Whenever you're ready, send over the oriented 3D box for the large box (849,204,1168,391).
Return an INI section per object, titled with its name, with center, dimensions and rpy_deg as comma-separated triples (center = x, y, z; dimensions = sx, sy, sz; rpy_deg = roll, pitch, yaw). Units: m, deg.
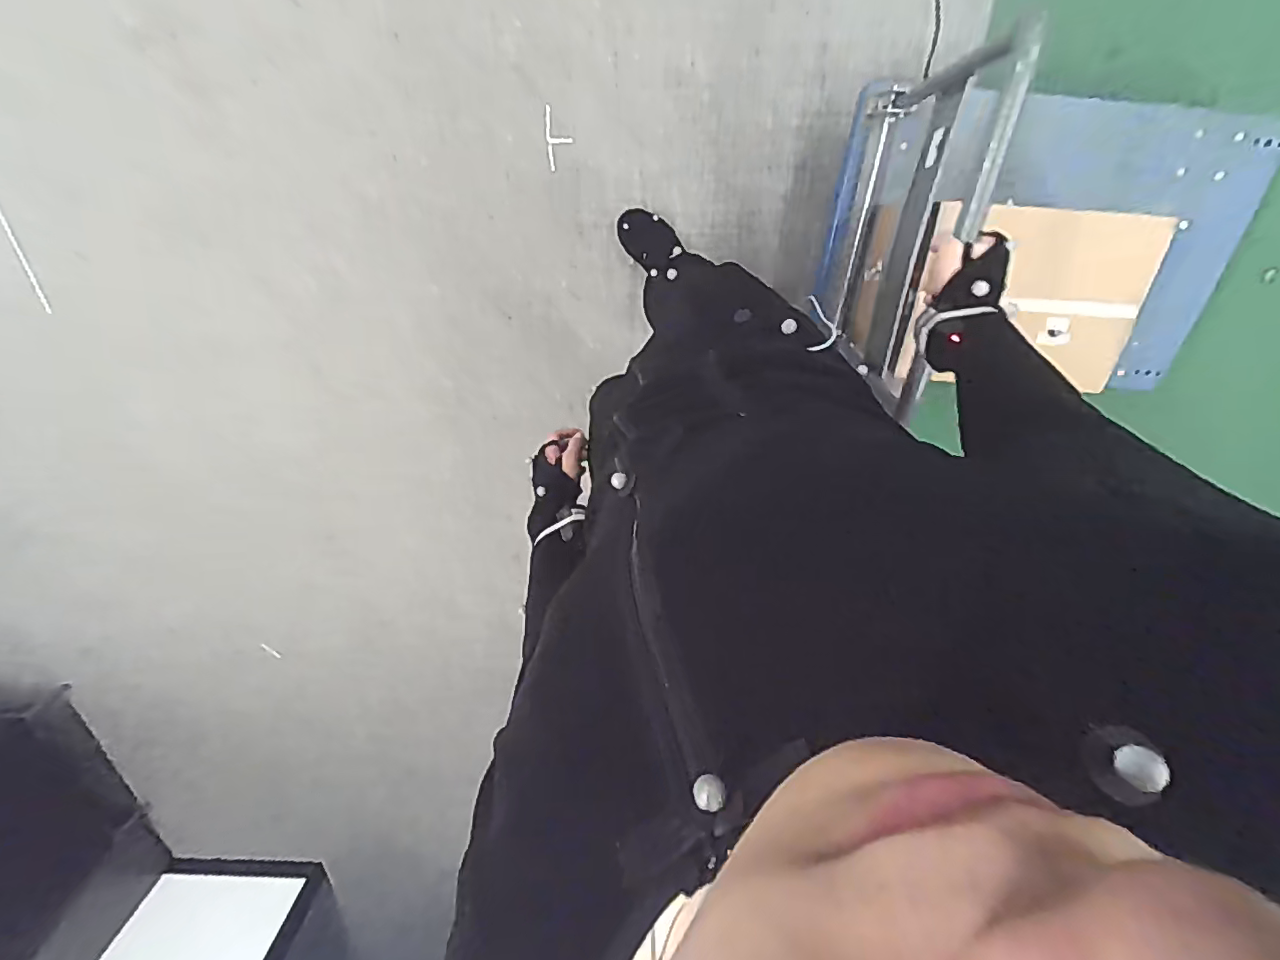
[large box]
center = 0.706, -0.387, 1.126
dimensions = 0.408, 0.320, 0.320
rpy_deg = 5, 117, 0
